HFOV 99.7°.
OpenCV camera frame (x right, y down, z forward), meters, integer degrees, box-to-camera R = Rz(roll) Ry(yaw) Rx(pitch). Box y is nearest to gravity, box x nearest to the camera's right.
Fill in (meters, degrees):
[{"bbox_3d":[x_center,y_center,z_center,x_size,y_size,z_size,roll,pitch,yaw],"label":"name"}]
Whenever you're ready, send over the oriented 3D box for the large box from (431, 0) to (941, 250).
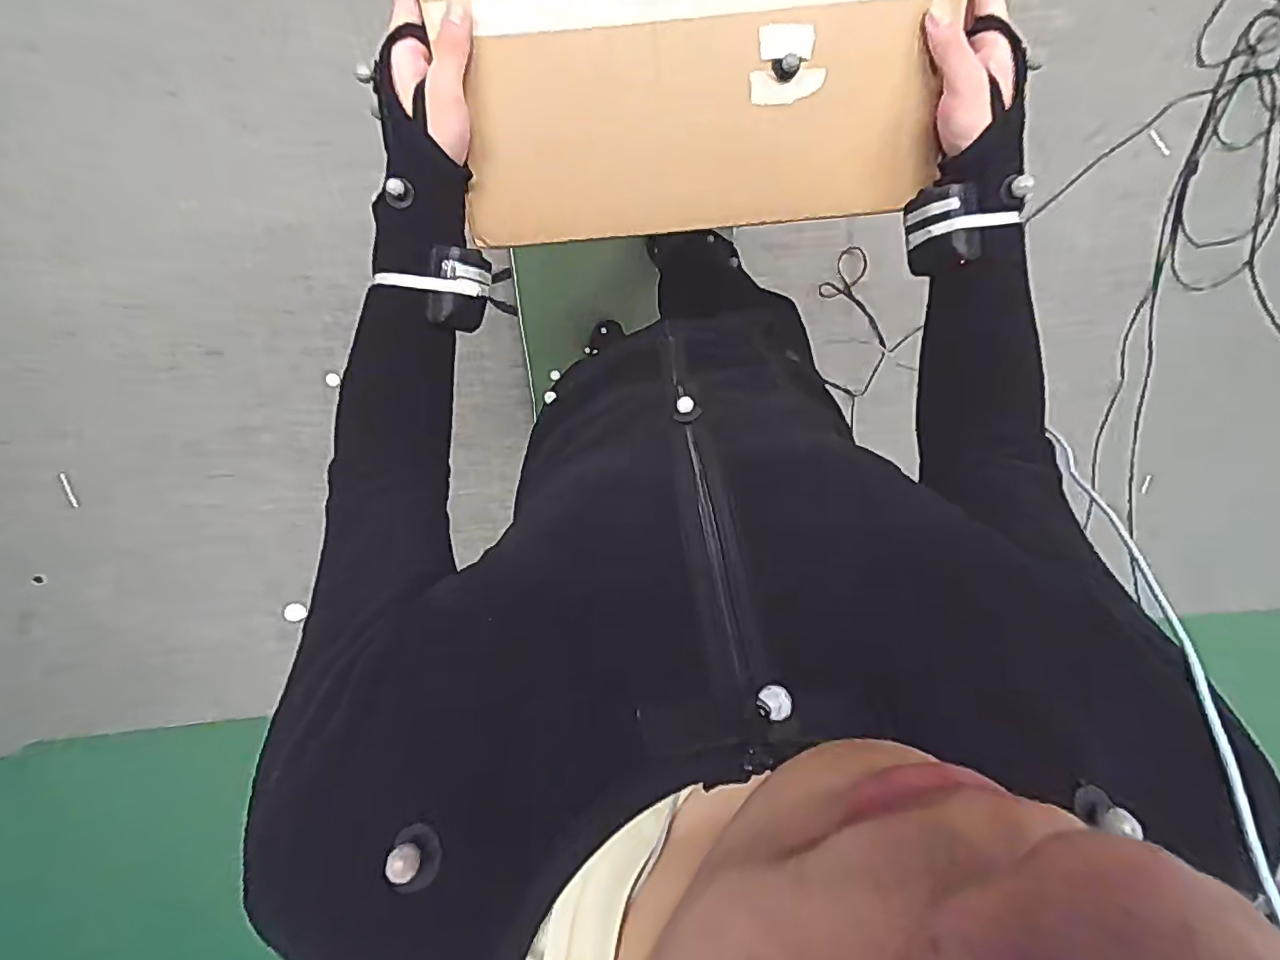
[{"bbox_3d":[0.028,-0.436,0.548,0.408,0.320,0.320,-7,120,-2],"label":"large box"}]
